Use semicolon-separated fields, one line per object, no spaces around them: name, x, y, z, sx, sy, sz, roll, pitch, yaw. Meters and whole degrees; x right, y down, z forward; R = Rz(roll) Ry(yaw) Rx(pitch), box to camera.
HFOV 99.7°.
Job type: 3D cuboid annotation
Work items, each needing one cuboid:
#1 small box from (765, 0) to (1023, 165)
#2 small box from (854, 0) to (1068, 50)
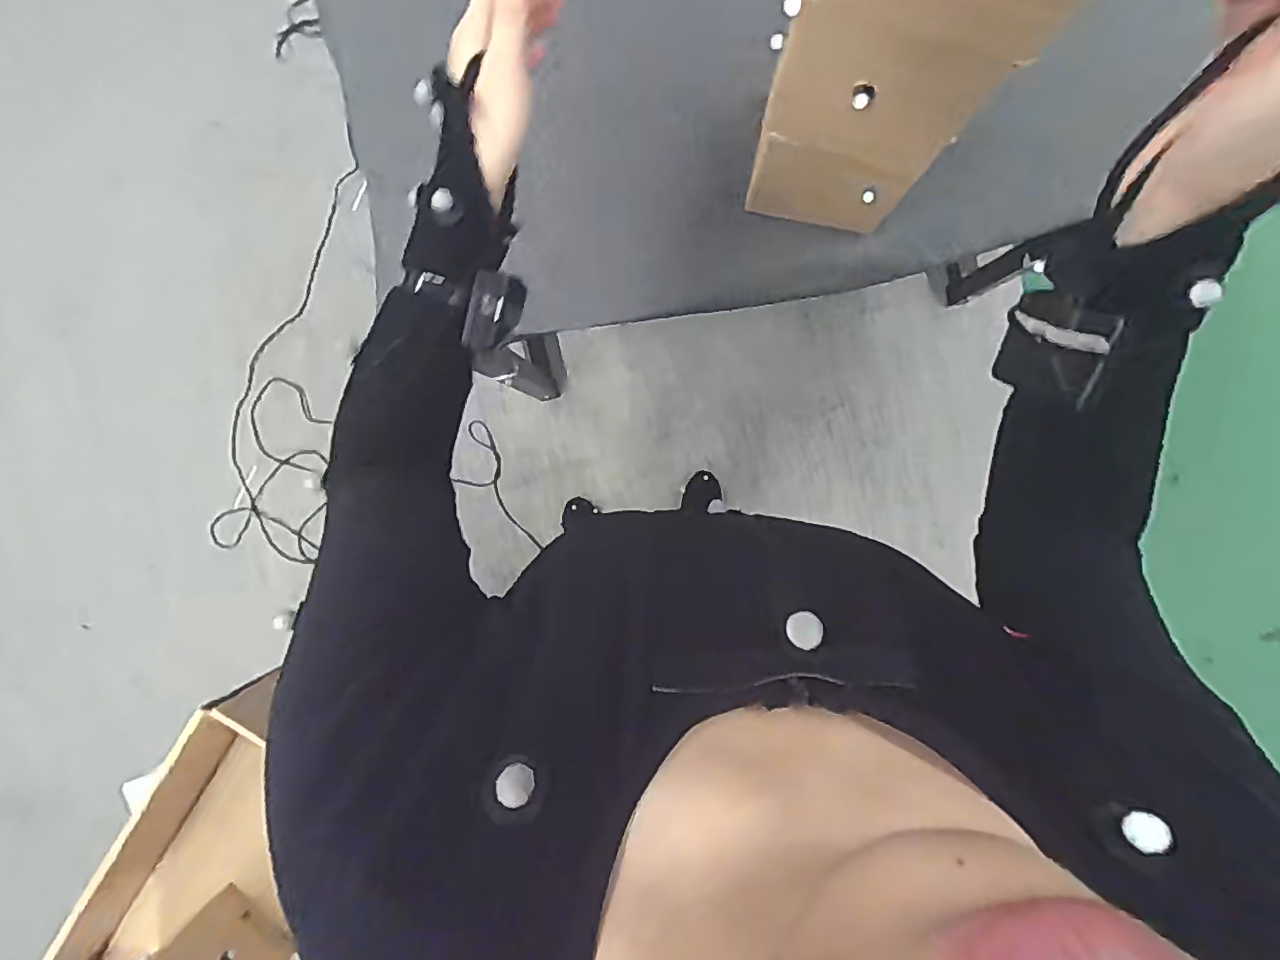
small box;0.233;-0.420;0.483;0.179;0.176;0.168;20;93;2
small box;0.229;-0.412;0.321;0.179;0.176;0.168;20;92;1
